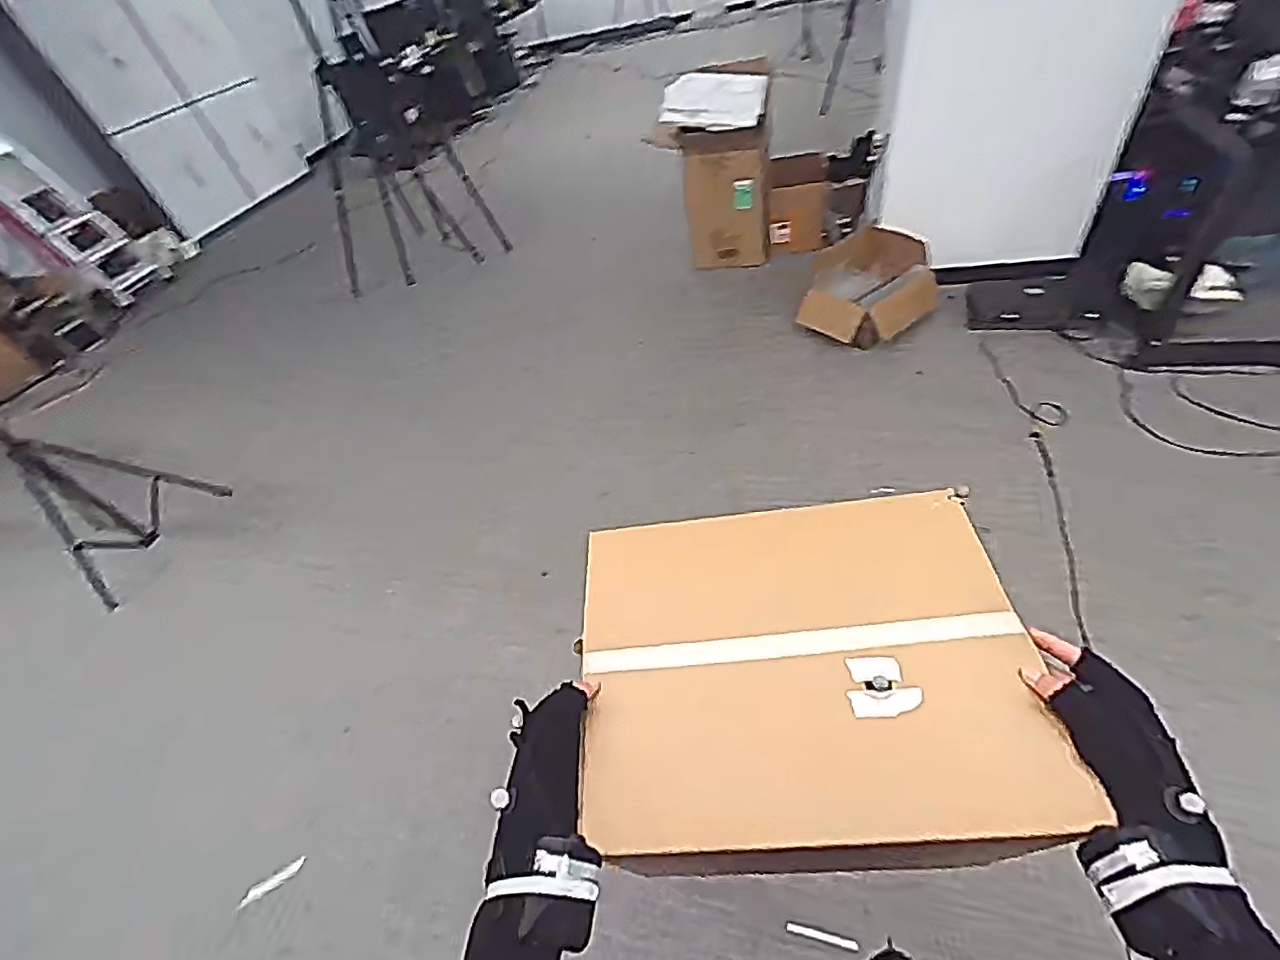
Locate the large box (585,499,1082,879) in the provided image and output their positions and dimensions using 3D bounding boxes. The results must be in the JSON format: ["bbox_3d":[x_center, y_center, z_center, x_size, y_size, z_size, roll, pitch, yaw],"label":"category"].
[{"bbox_3d":[0.164,0.260,0.641,0.408,0.320,0.320,-8,51,6],"label":"large box"}]
